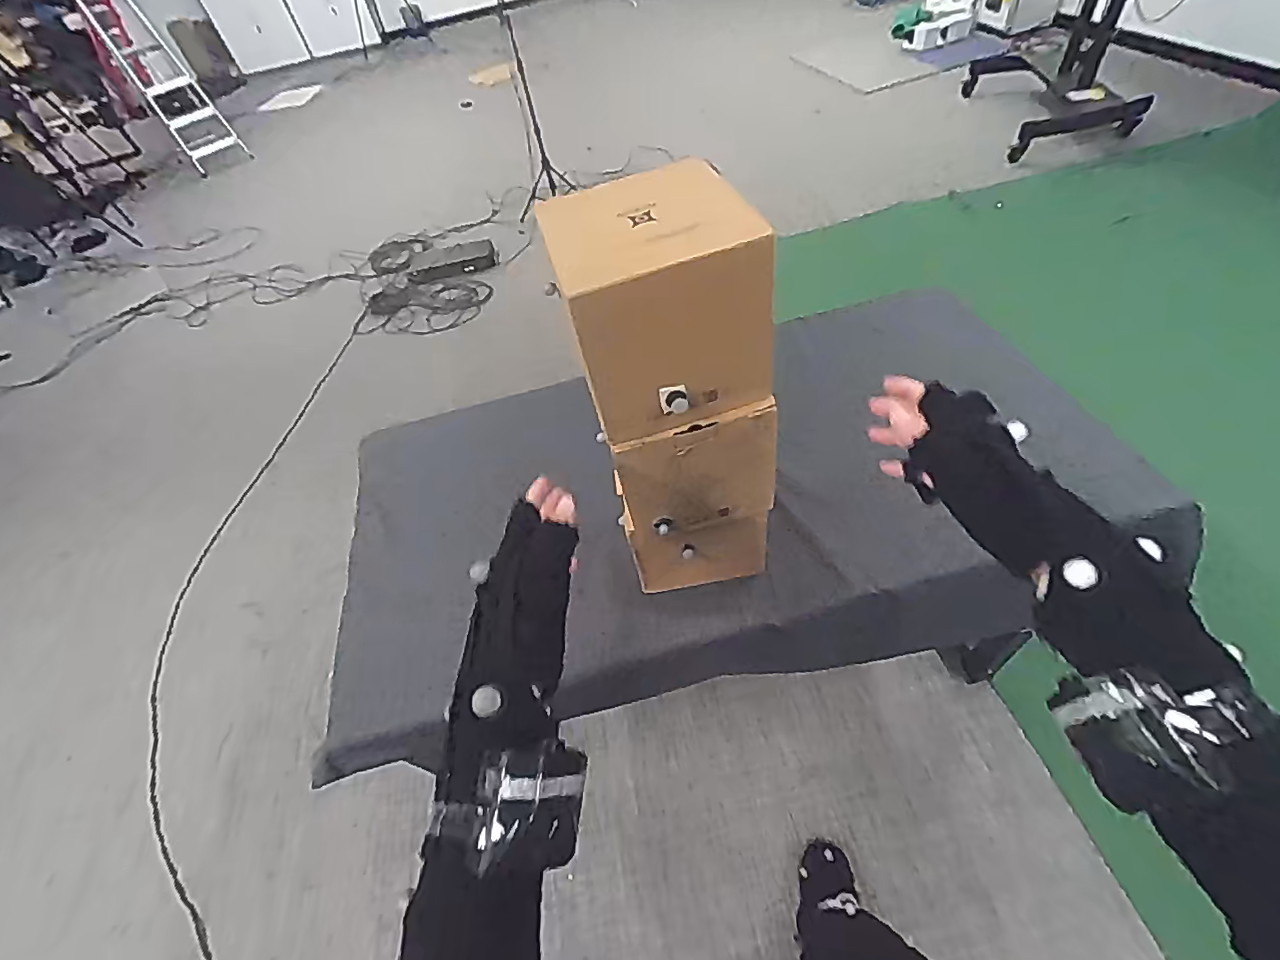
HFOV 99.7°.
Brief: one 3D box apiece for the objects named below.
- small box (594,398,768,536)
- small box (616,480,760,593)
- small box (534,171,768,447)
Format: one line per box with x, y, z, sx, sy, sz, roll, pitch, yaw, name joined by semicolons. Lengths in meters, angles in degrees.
0.042;-0.053;0.639;0.168;0.176;0.179;-18;51;-3;small box
0.067;0.041;0.775;0.179;0.176;0.168;-13;48;0;small box
0.011;-0.163;0.523;0.168;0.176;0.179;-19;50;-3;small box
